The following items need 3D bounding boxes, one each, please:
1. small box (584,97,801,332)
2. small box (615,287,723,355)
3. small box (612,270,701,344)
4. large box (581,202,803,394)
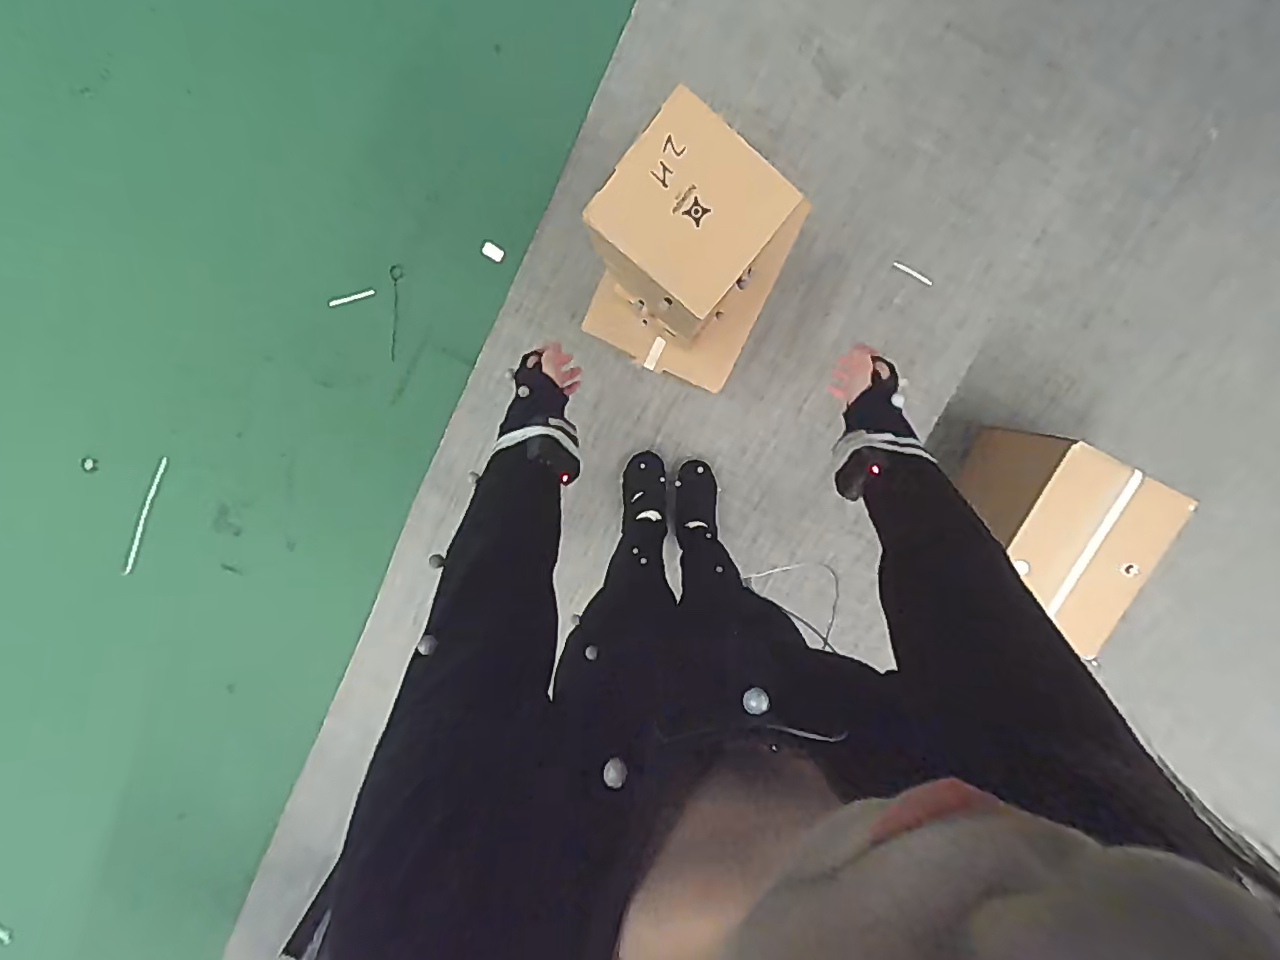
[{"bbox_3d":[0.057,-0.296,0.653,0.179,0.176,0.168,39,98,-6],"label":"small box"},{"bbox_3d":[0.071,-0.346,0.977,0.168,0.176,0.179,36,99,-6],"label":"small box"},{"bbox_3d":[0.069,-0.327,0.815,0.168,0.176,0.179,39,100,-5],"label":"small box"},{"bbox_3d":[0.099,-0.434,1.207,0.320,0.320,0.408,25,99,-4],"label":"large box"}]
